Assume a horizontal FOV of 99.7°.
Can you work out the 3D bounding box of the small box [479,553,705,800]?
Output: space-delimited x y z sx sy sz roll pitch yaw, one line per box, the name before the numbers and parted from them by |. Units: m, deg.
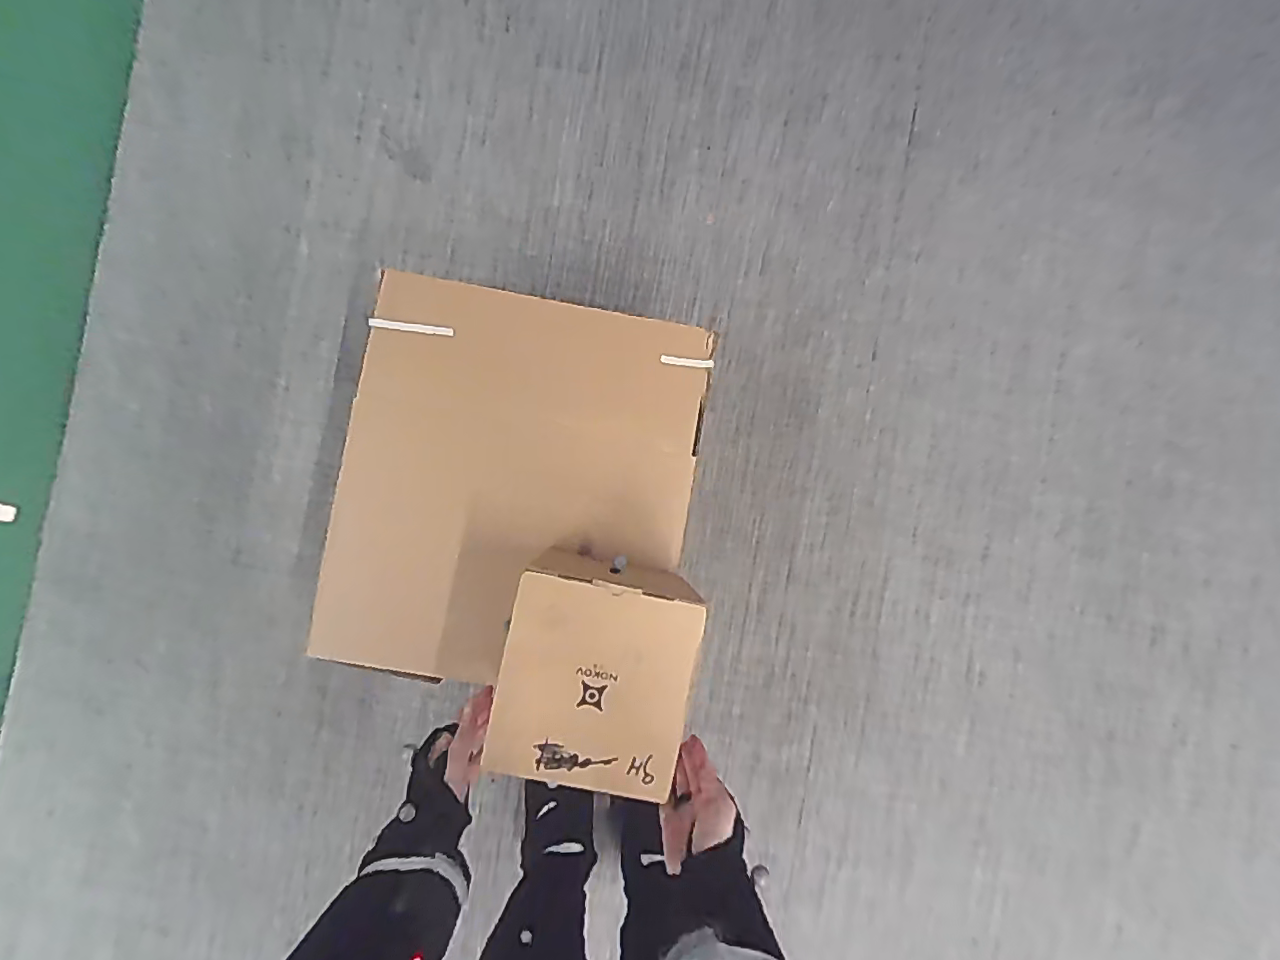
small box | -0.045 0.178 0.546 0.168 0.176 0.179 13 87 -3
